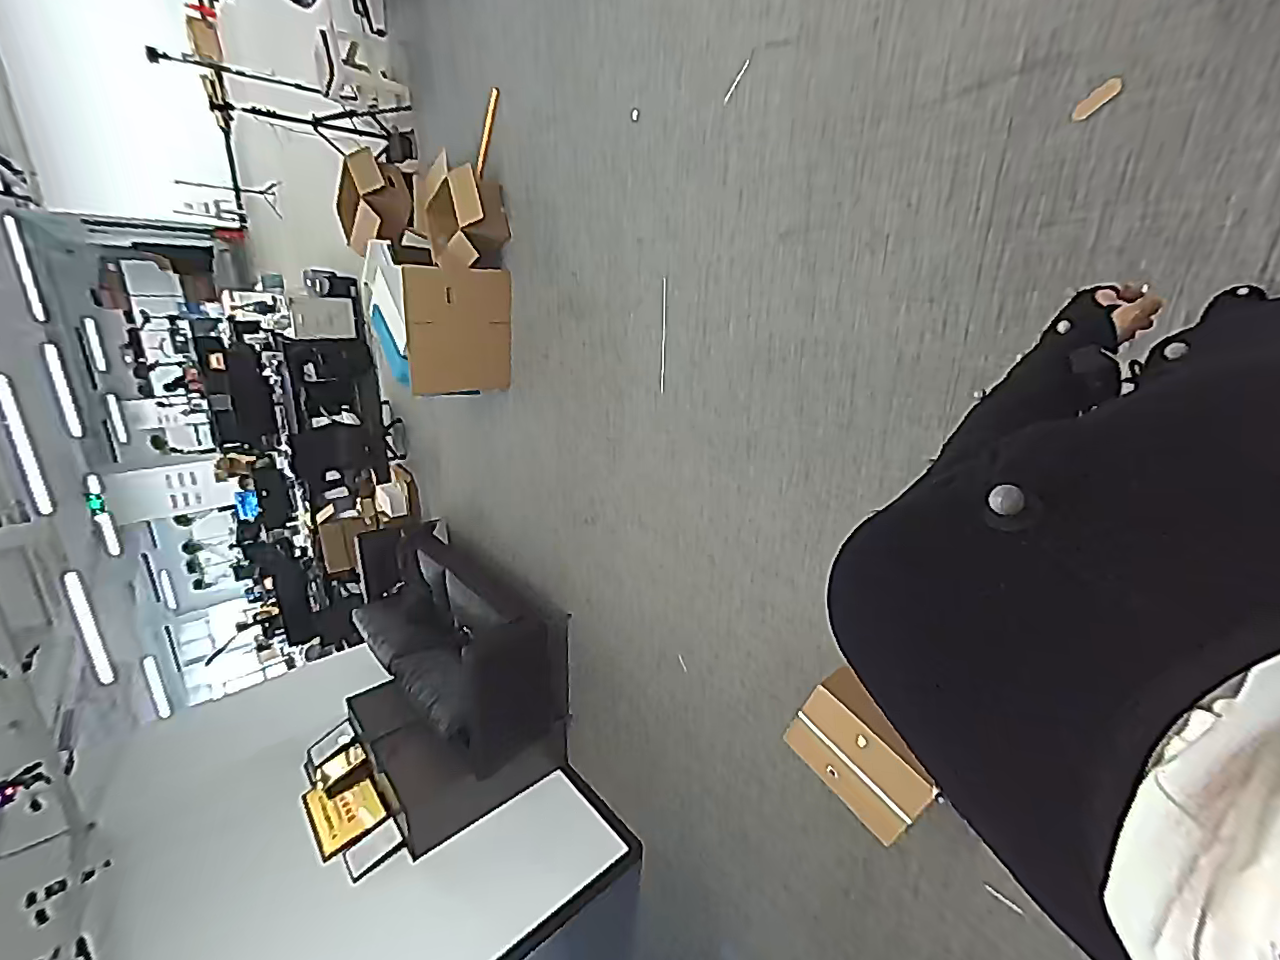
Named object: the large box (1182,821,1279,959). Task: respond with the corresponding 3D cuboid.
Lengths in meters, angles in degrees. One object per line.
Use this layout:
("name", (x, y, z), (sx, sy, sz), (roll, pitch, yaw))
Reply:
("large box", (1.381, 0.918, 1.034), (0.408, 0.320, 0.320), (-28, 81, 49))
